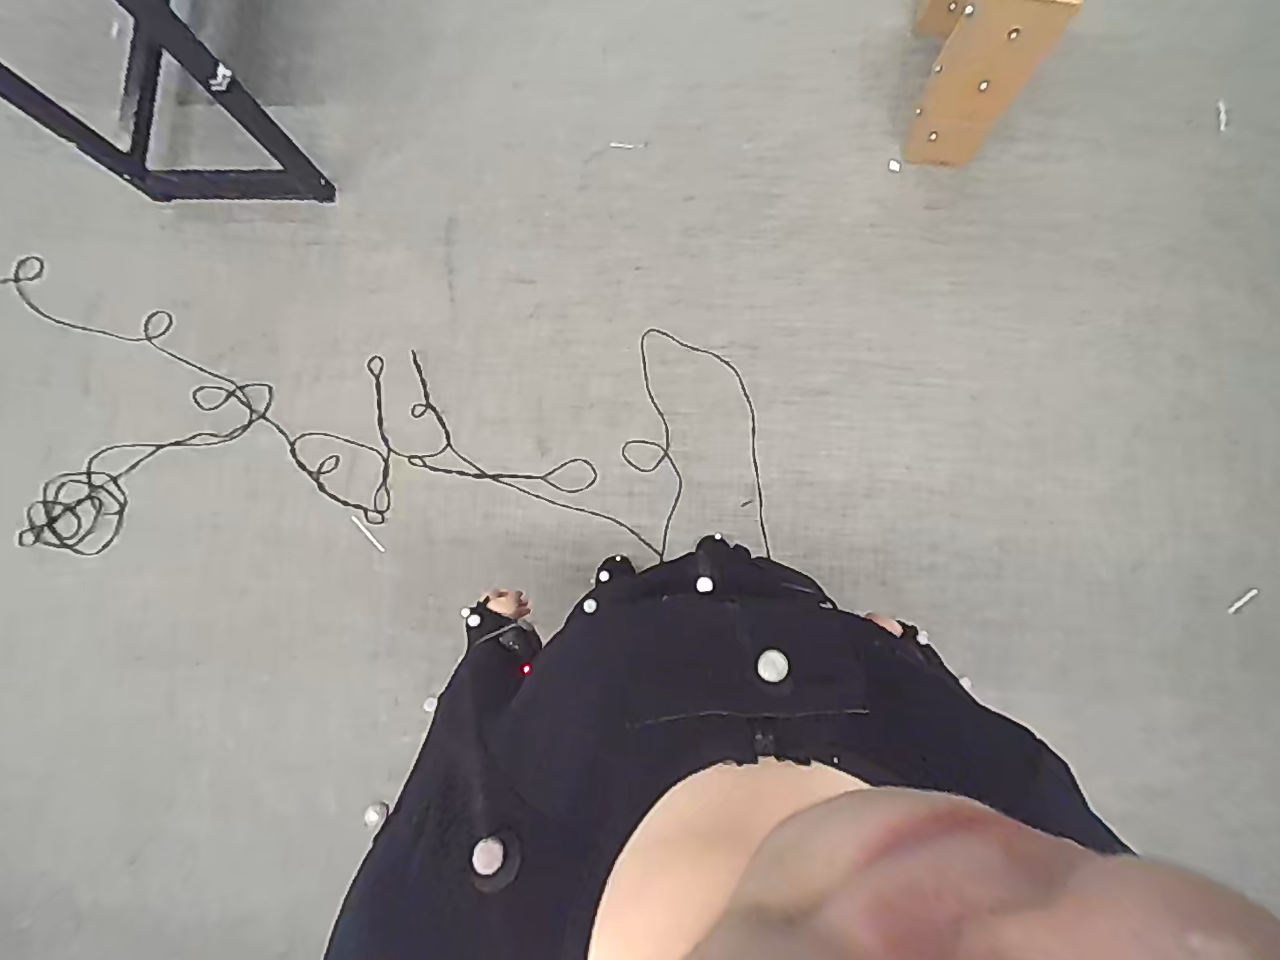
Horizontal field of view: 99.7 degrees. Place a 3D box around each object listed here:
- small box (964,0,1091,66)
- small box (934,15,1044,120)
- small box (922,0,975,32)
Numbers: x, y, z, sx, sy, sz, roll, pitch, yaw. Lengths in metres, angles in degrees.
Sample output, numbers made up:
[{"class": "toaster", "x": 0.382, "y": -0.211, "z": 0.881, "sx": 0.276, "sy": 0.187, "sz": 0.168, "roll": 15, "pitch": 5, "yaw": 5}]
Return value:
[{"class": "small box", "x": 0.860, "y": -1.065, "z": 1.197, "sx": 0.179, "sy": 0.176, "sz": 0.168, "roll": 12, "pitch": 84, "yaw": 6}, {"class": "small box", "x": 0.877, "y": -1.046, "z": 1.359, "sx": 0.179, "sy": 0.176, "sz": 0.168, "roll": 10, "pitch": 84, "yaw": 4}, {"class": "small box", "x": 0.940, "y": -1.444, "z": 1.563, "sx": 0.179, "sy": 0.176, "sz": 0.168, "roll": 6, "pitch": 84, "yaw": 4}]
